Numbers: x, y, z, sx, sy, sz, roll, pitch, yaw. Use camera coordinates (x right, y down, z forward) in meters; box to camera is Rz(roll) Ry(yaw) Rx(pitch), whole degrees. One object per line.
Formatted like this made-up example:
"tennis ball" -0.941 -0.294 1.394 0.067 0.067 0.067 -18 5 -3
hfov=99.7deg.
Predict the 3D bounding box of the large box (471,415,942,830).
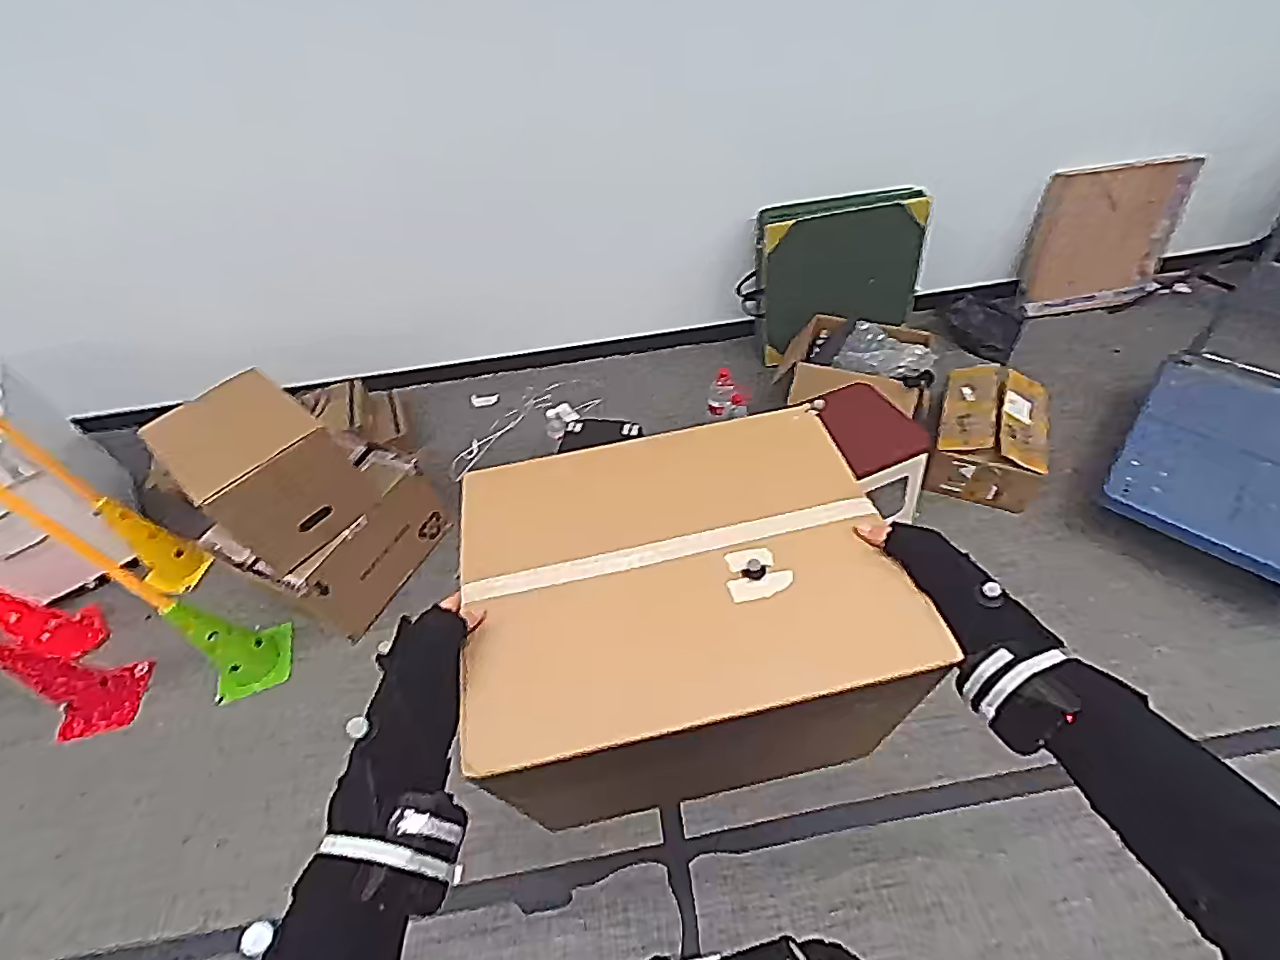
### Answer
"large box" 0.042 0.171 0.644 0.408 0.320 0.320 -12 50 -4
